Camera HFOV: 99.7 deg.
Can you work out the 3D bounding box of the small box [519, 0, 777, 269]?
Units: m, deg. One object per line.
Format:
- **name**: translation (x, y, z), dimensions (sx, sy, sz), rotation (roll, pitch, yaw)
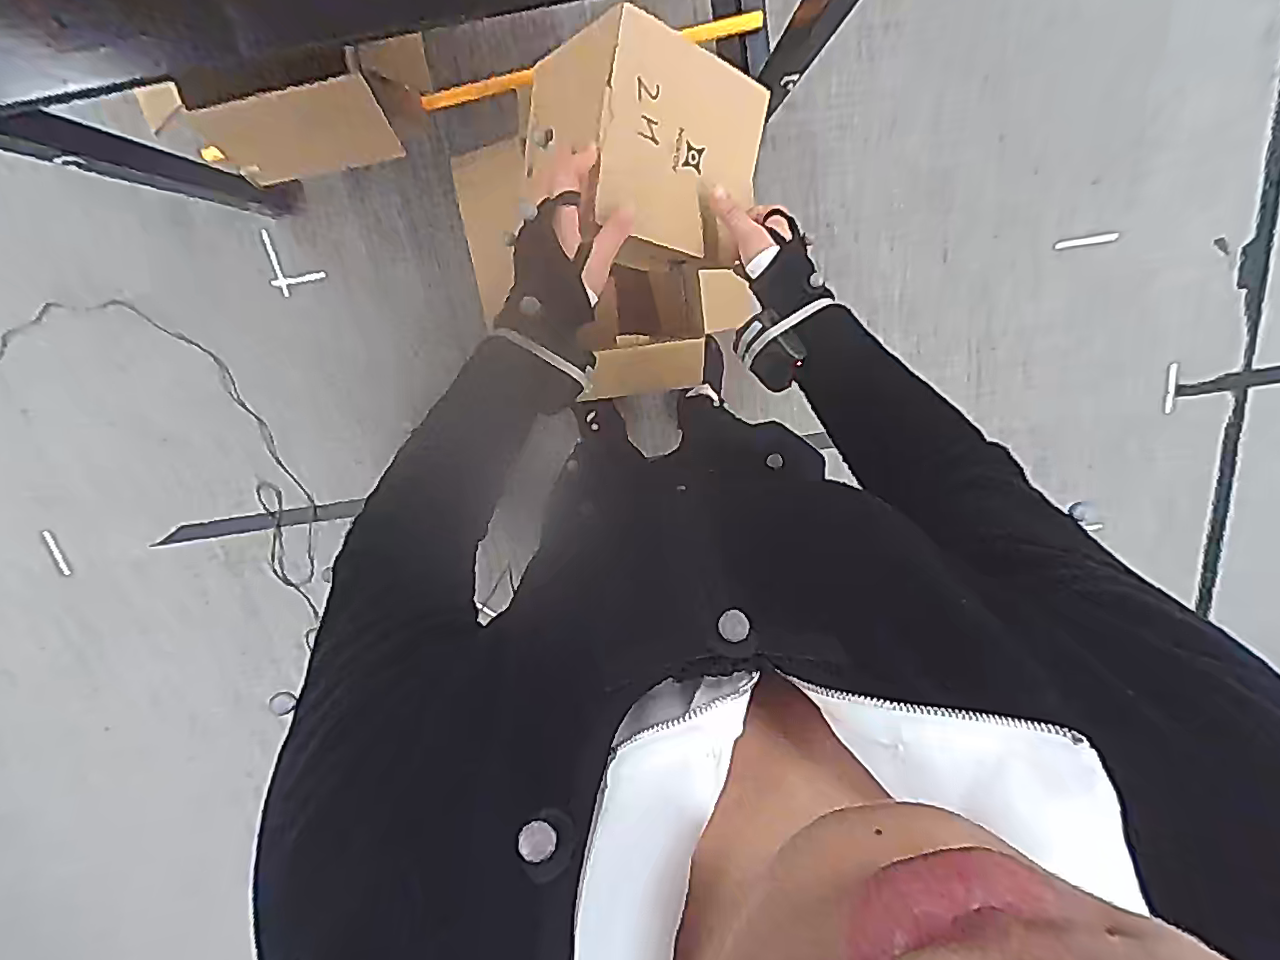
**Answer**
- **small box**: translation (0.001, -0.316, 0.539), dimensions (0.179, 0.176, 0.168), rotation (-1, 108, -37)
